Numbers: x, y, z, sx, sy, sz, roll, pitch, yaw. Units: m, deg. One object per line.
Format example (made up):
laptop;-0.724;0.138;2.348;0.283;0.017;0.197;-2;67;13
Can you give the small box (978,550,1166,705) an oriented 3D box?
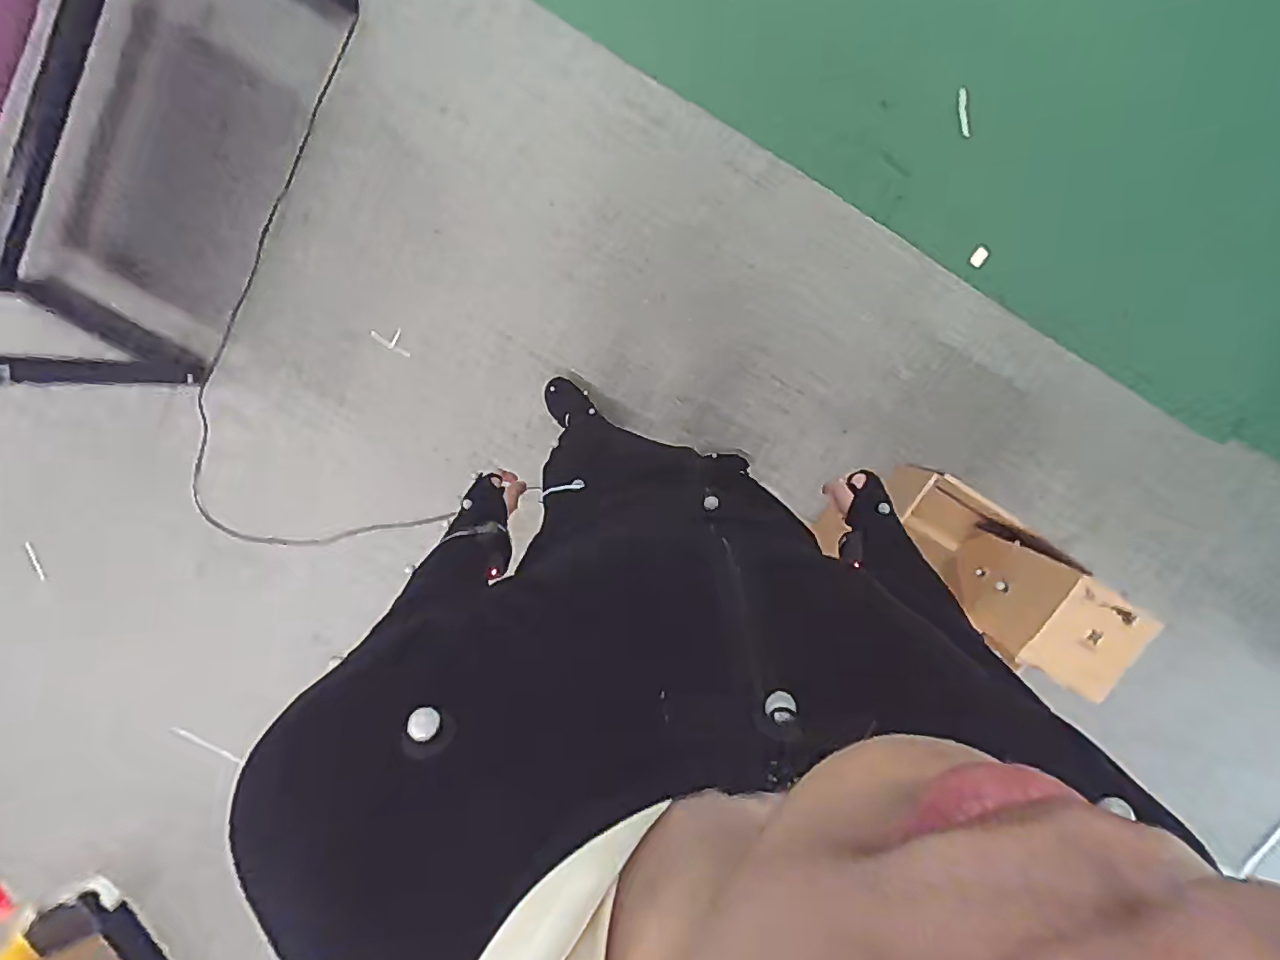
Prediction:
small box;0.756;0.256;0.977;0.168;0.176;0.179;32;100;-3
